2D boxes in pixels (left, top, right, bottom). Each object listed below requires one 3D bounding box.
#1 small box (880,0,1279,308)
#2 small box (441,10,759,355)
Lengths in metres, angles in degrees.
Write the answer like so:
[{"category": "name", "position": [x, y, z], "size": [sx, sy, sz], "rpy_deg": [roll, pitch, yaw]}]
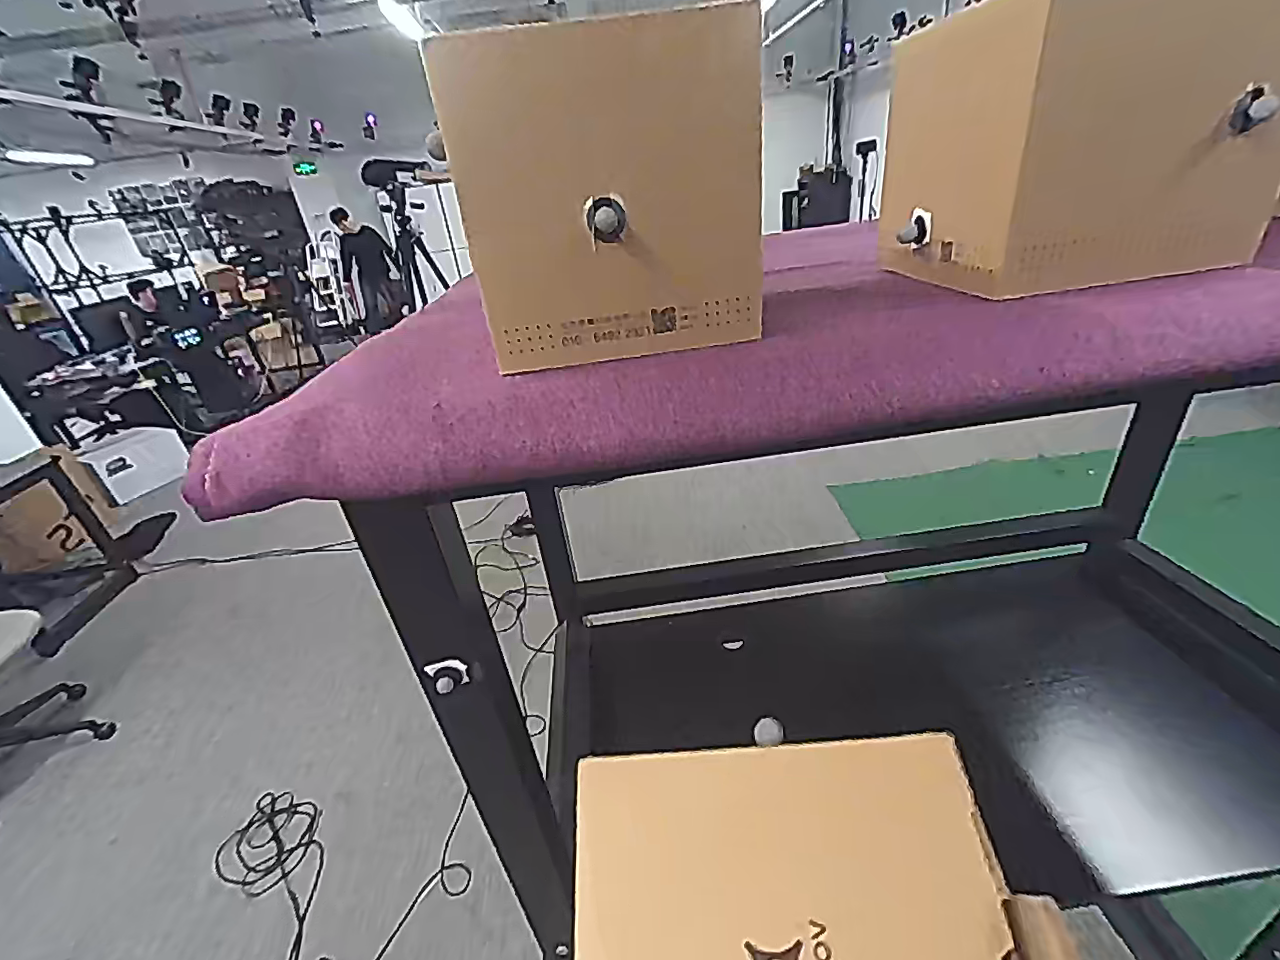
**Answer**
[{"category": "small box", "position": [0.300, -0.234, 0.394], "size": [0.179, 0.176, 0.168], "rpy_deg": [-9, 28, -2]}, {"category": "small box", "position": [-0.018, -0.190, 0.378], "size": [0.168, 0.176, 0.179], "rpy_deg": [-7, 29, -3]}]
